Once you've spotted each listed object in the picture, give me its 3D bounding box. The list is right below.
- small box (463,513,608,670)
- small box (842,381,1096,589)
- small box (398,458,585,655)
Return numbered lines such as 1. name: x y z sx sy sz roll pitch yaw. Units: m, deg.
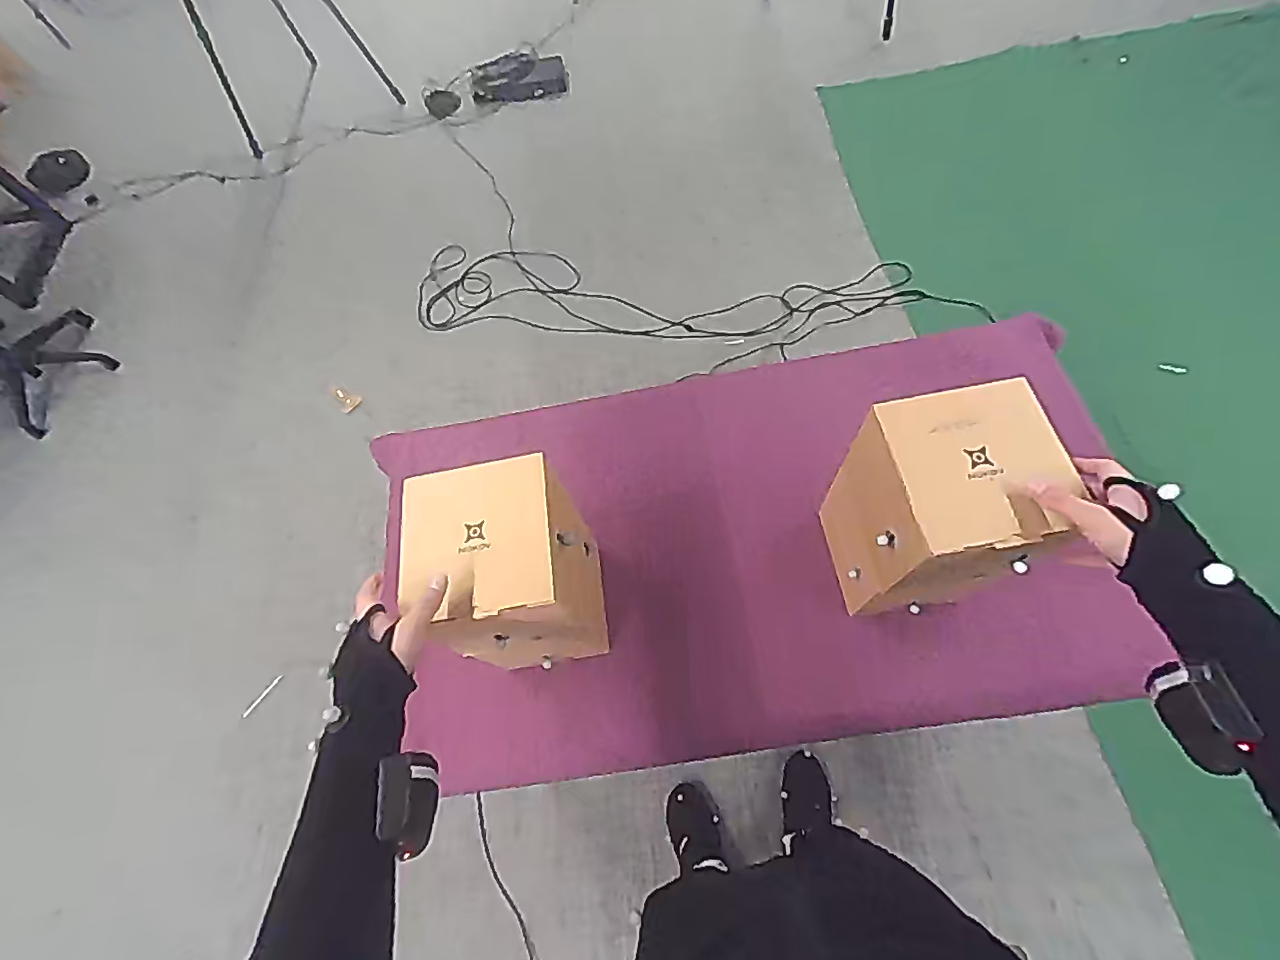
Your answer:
1. small box: -0.148 0.171 0.799 0.168 0.176 0.179 -10 63 4
2. small box: 0.348 0.018 0.616 0.168 0.176 0.179 -10 63 3
3. small box: -0.169 0.099 0.655 0.168 0.176 0.179 -11 63 2
